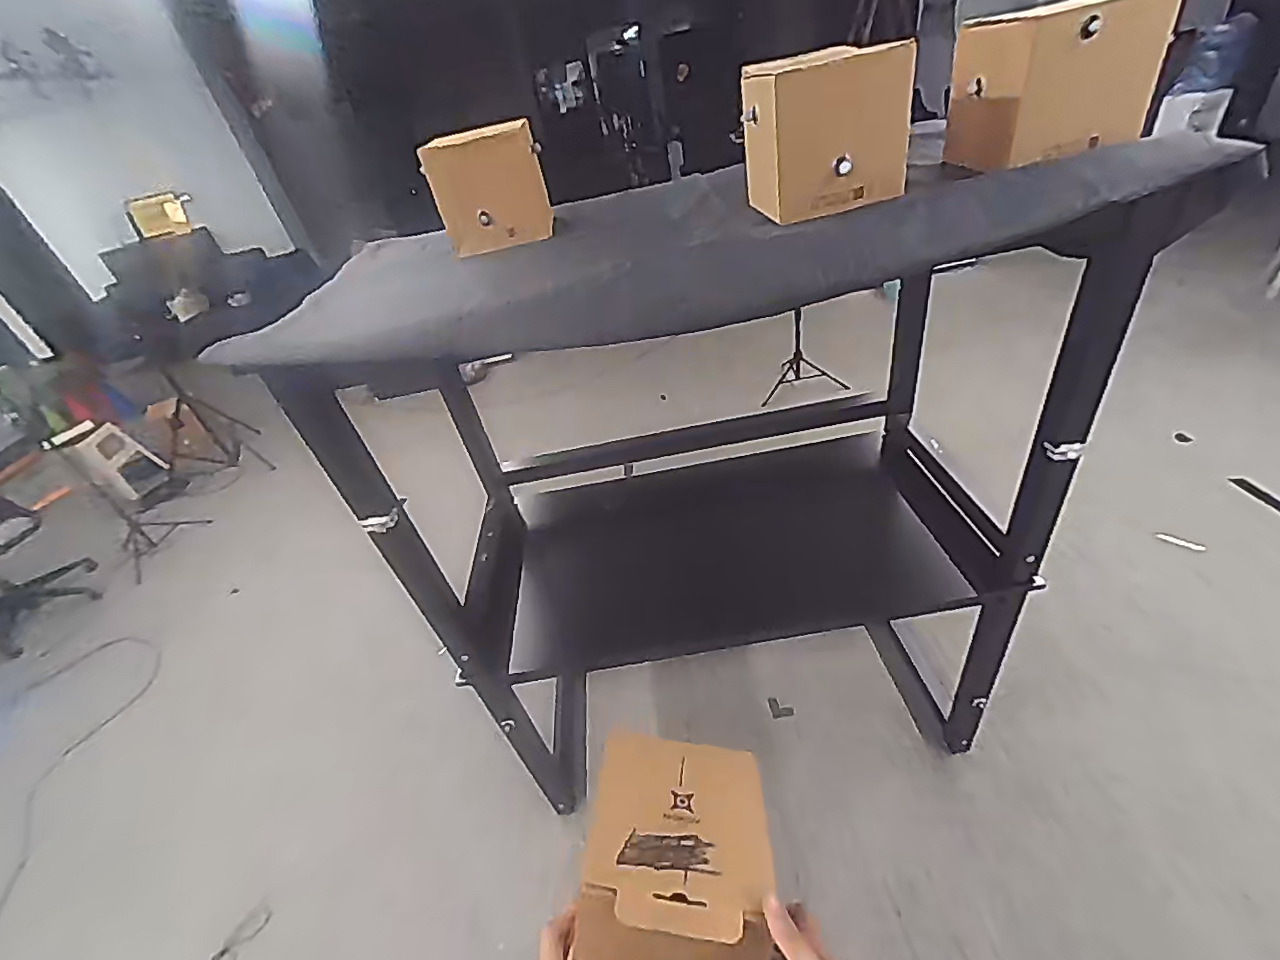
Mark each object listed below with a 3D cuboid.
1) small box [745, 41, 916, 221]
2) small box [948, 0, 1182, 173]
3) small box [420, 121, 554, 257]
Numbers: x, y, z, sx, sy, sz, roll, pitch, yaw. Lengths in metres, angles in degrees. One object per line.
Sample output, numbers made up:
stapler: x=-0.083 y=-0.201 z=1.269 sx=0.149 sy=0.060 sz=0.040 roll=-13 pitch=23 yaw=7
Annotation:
small box: x=0.245 y=-0.466 z=0.734 sx=0.168 sy=0.176 sz=0.179 roll=-11 pitch=36 yaw=3
small box: x=0.539 y=-0.523 z=0.718 sx=0.168 sy=0.176 sz=0.179 roll=-11 pitch=36 yaw=5
small box: x=-0.253 y=-0.506 z=0.941 sx=0.168 sy=0.176 sz=0.179 roll=-12 pitch=38 yaw=2
